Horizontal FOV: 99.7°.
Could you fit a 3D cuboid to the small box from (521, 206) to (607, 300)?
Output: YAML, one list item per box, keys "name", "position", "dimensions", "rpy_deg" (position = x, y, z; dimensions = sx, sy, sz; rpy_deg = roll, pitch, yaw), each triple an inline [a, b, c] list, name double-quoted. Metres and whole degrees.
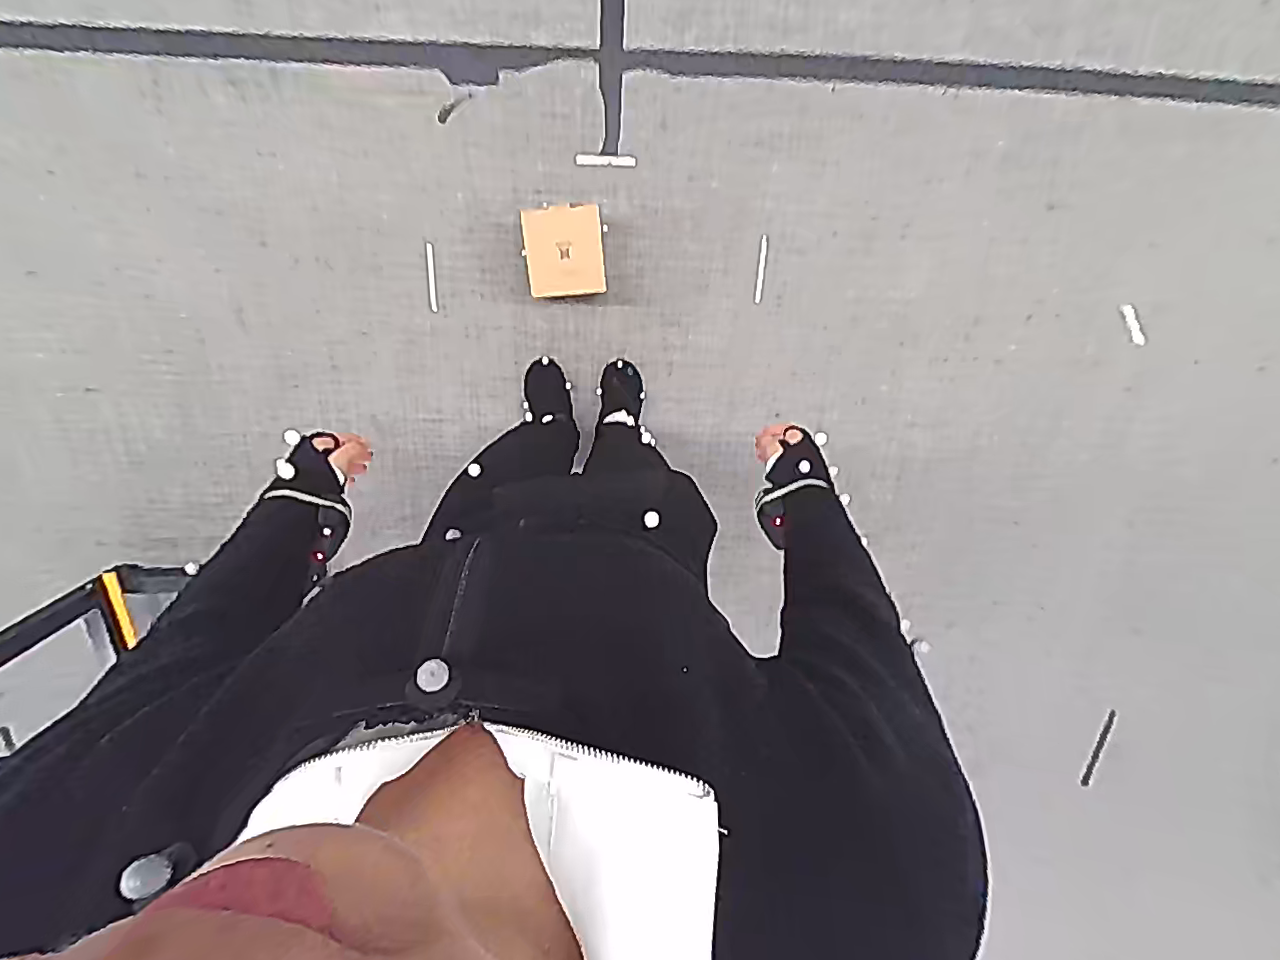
- name: "small box"
  position: [-0.165, -0.508, 1.221]
  dimensions: [0.168, 0.176, 0.179]
  rpy_deg: [-5, 112, 0]
